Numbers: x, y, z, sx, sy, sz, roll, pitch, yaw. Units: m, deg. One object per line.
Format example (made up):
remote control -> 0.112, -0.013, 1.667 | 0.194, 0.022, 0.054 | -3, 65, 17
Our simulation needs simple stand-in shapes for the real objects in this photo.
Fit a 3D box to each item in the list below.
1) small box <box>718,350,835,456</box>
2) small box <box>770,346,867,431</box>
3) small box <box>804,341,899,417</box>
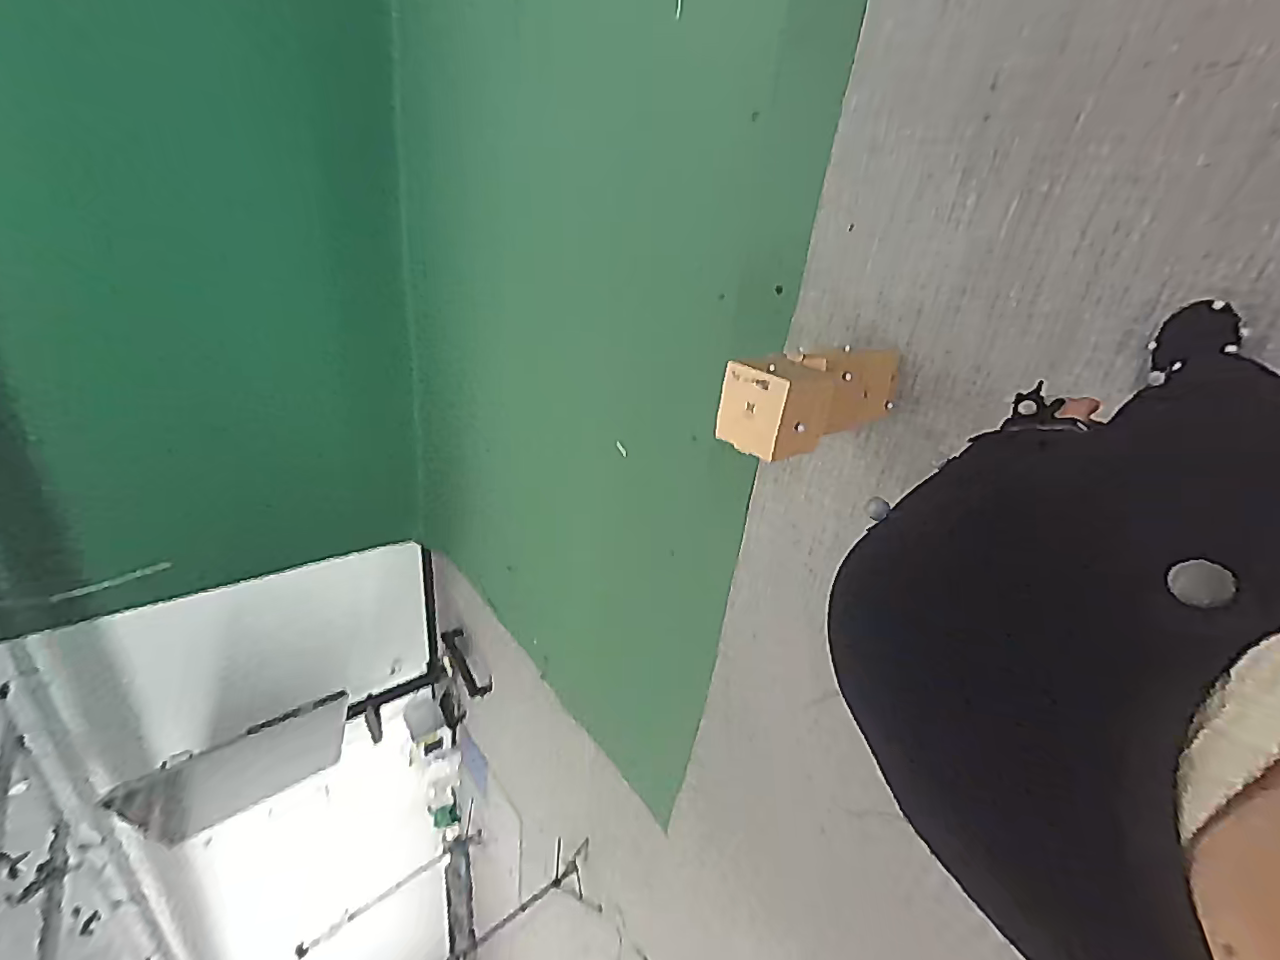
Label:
small box -> 0.296, -0.174, 1.175 | 0.168, 0.176, 0.179 | 33, 127, 41
small box -> 0.416, -0.224, 1.279 | 0.168, 0.176, 0.179 | 18, 116, 49
small box -> 0.534, -0.264, 1.383 | 0.179, 0.176, 0.168 | 22, 117, 47
